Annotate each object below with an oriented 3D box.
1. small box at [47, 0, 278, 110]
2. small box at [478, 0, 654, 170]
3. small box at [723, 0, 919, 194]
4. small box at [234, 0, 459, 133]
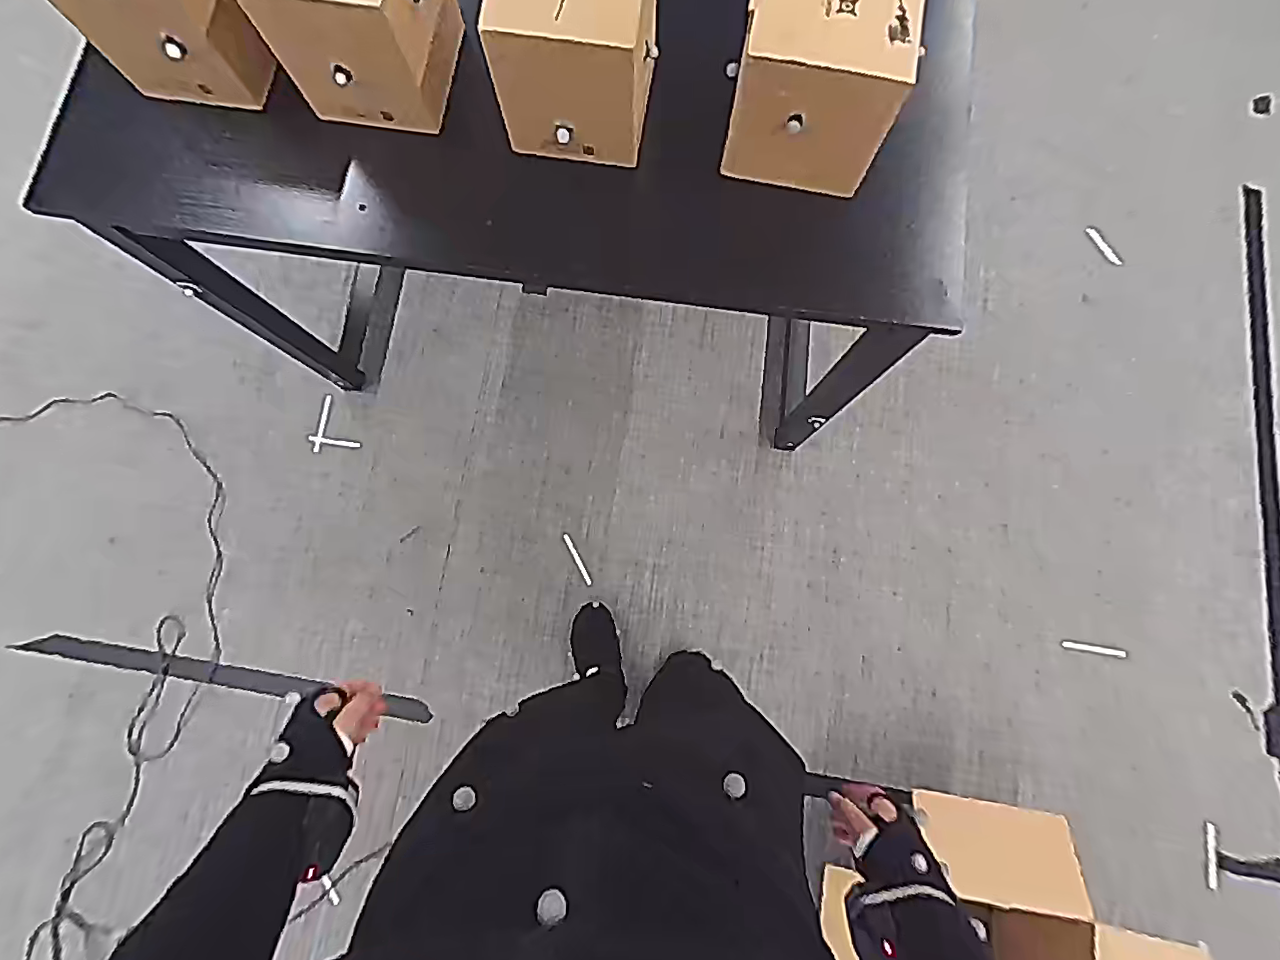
[{"bbox_3d":[-0.573,-0.599,0.663,0.168,0.176,0.179,8,79,0],"label":"small box"},{"bbox_3d":[-0.075,-0.517,0.648,0.168,0.176,0.179,8,80,2],"label":"small box"},{"bbox_3d":[0.202,-0.472,0.641,0.179,0.176,0.168,11,80,3],"label":"small box"},{"bbox_3d":[-0.336,-0.564,0.656,0.168,0.176,0.179,9,80,1],"label":"small box"}]
